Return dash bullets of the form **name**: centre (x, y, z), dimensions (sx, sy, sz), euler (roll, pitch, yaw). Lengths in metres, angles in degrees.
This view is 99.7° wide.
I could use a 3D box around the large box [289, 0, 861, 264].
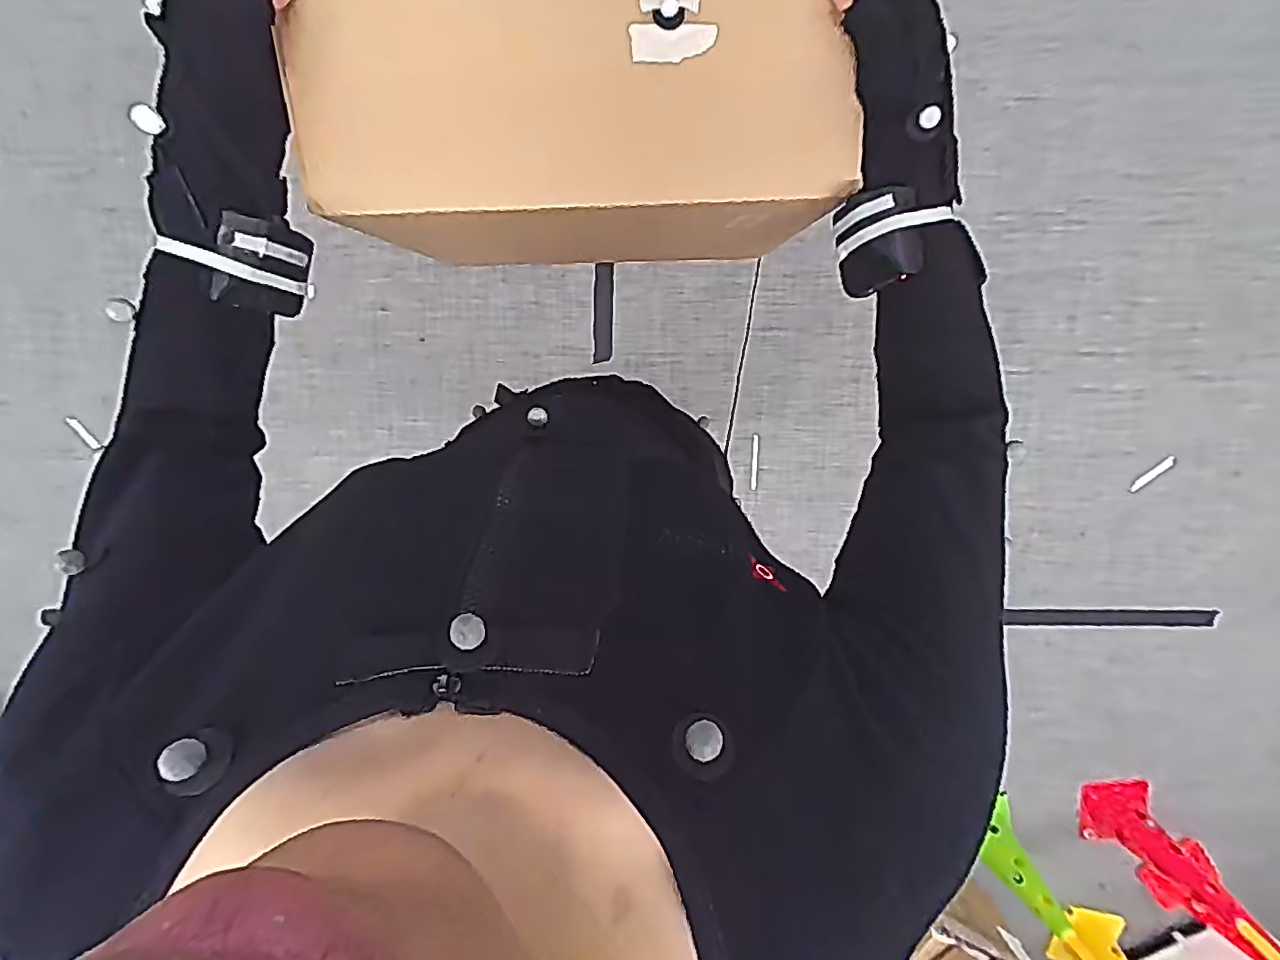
- **large box**: centre (-0.048, -0.398, 0.512), dimensions (0.408, 0.320, 0.320), euler (-2, 105, 0)
